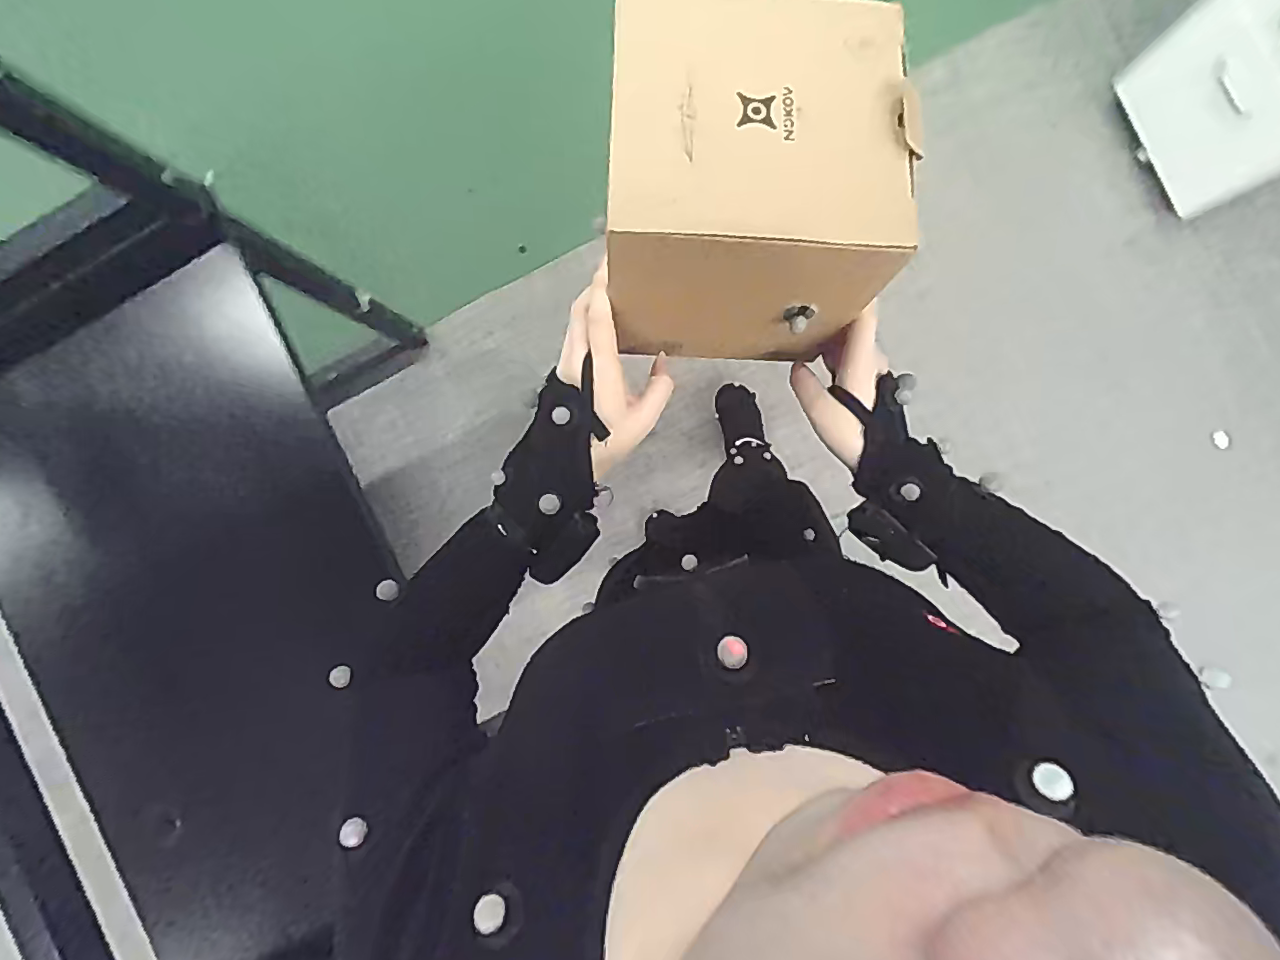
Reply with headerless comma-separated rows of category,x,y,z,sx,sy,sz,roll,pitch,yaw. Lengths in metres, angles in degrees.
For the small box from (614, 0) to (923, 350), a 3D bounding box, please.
small box,0.073,-0.205,0.392,0.179,0.176,0.168,3,79,-2
